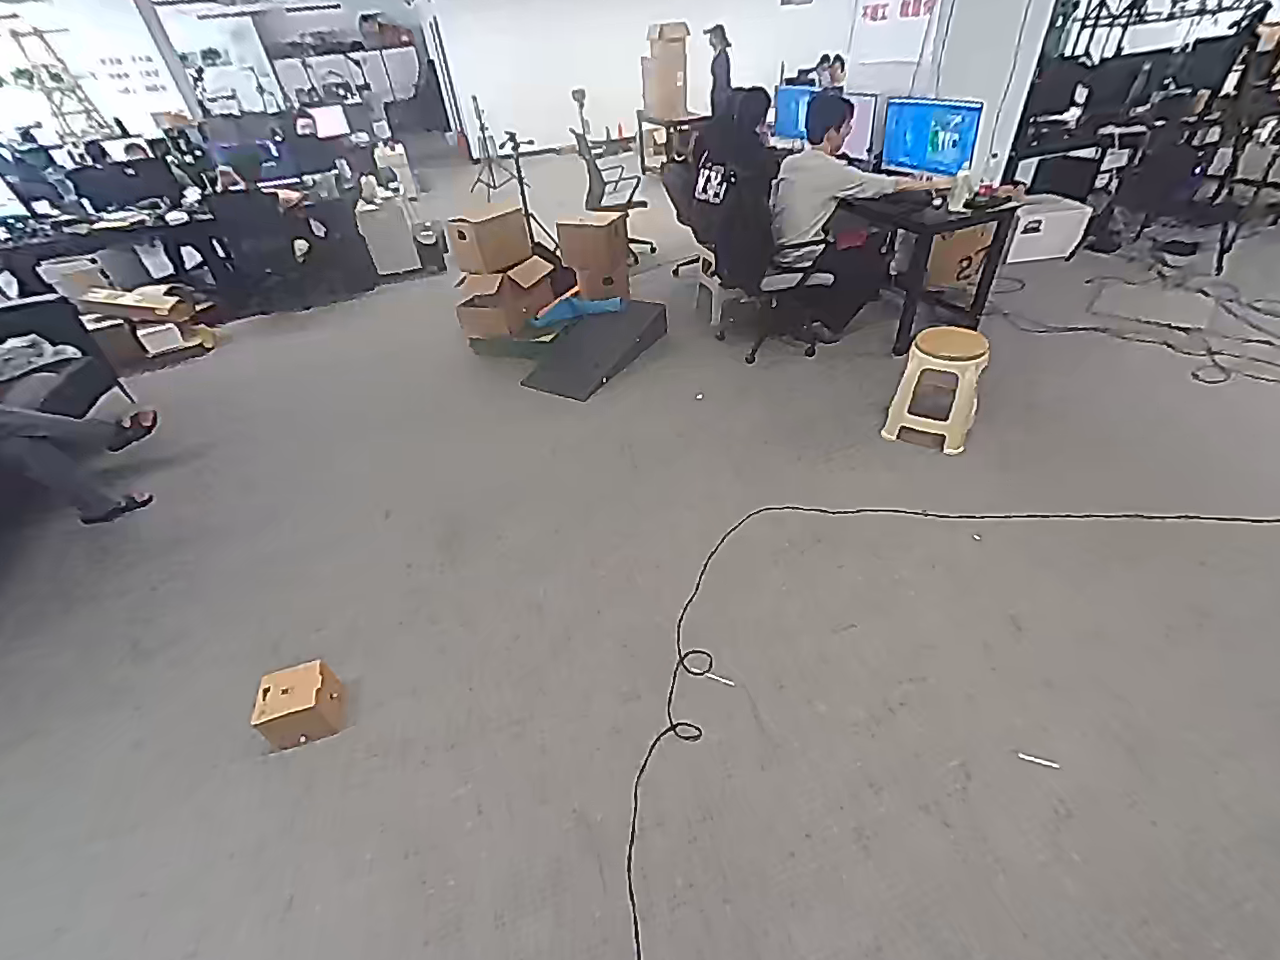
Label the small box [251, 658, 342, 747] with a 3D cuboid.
[{"bbox_3d":[-1.046,0.687,1.666,0.179,0.176,0.168,-14,39,-11],"label":"small box"}]
